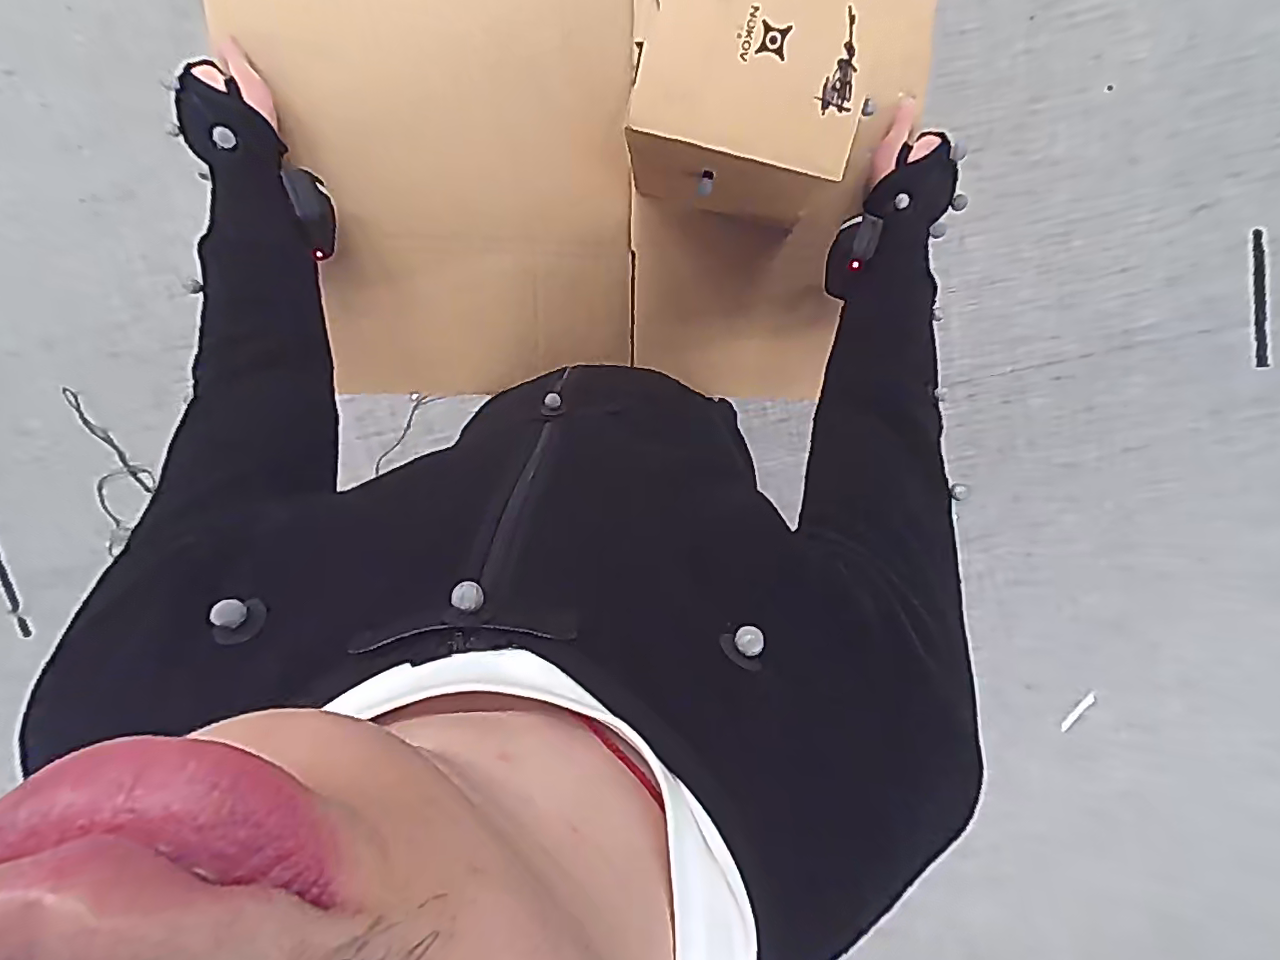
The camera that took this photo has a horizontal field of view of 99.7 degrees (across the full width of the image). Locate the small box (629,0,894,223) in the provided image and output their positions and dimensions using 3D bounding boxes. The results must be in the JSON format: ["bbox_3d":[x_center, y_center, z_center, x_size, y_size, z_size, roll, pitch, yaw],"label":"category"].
[{"bbox_3d":[0.099,-0.351,0.487,0.179,0.176,0.168,14,103,0],"label":"small box"}]
